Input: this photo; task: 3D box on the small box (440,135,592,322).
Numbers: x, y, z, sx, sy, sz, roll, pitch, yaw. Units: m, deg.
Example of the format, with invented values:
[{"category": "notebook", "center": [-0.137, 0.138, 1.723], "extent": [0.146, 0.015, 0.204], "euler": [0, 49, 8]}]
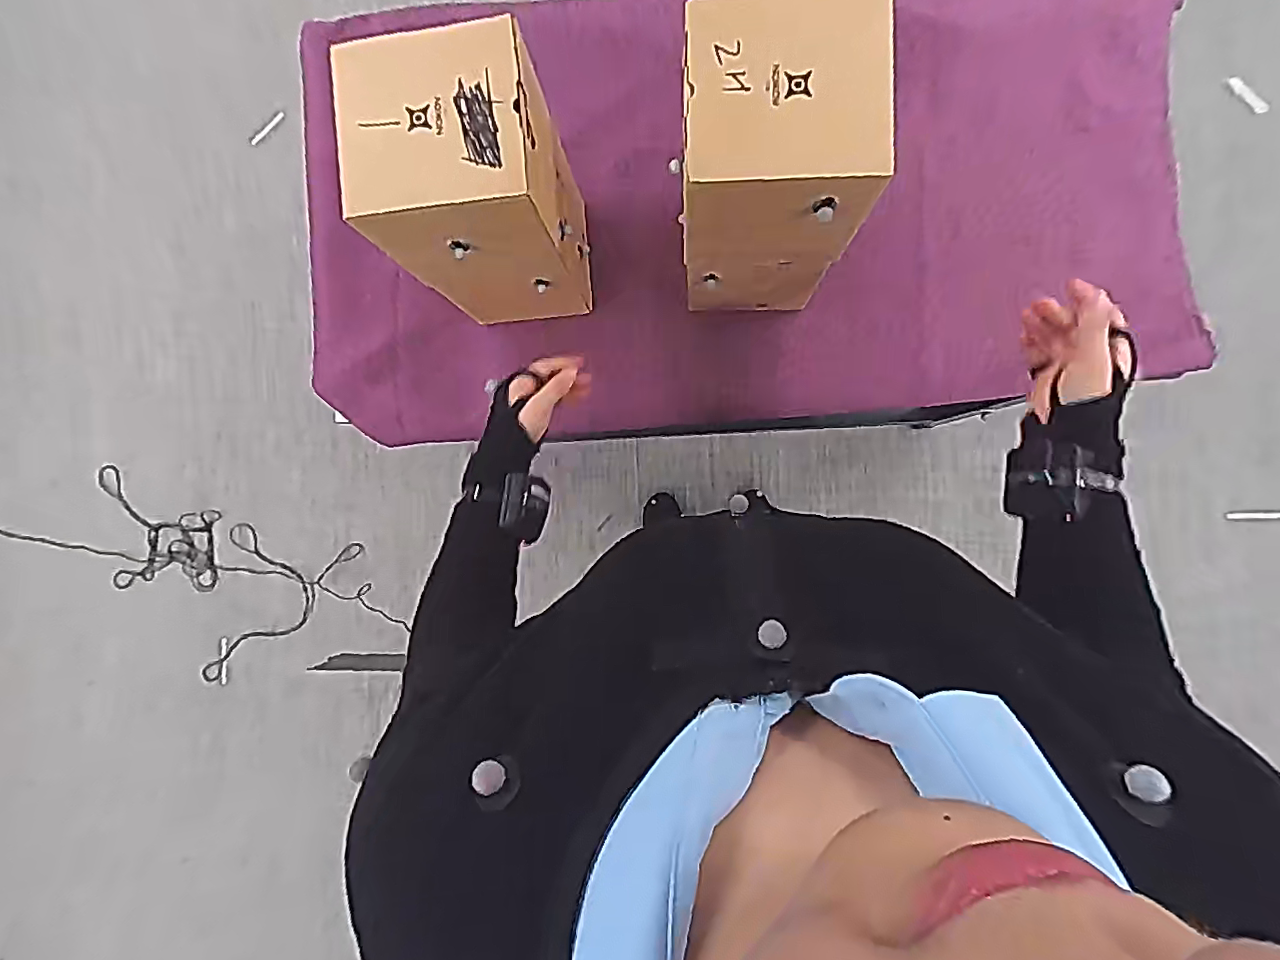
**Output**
[{"category": "small box", "center": [-0.169, -0.325, 0.732], "extent": [0.179, 0.176, 0.168], "euler": [-5, 88, 4]}]

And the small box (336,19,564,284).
[{"category": "small box", "center": [-0.181, -0.324, 0.568], "extent": [0.179, 0.176, 0.168], "euler": [-5, 88, 5]}]

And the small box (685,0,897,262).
[{"category": "small box", "center": [0.135, -0.332, 0.538], "extent": [0.179, 0.176, 0.168], "euler": [1, 88, 5]}]
